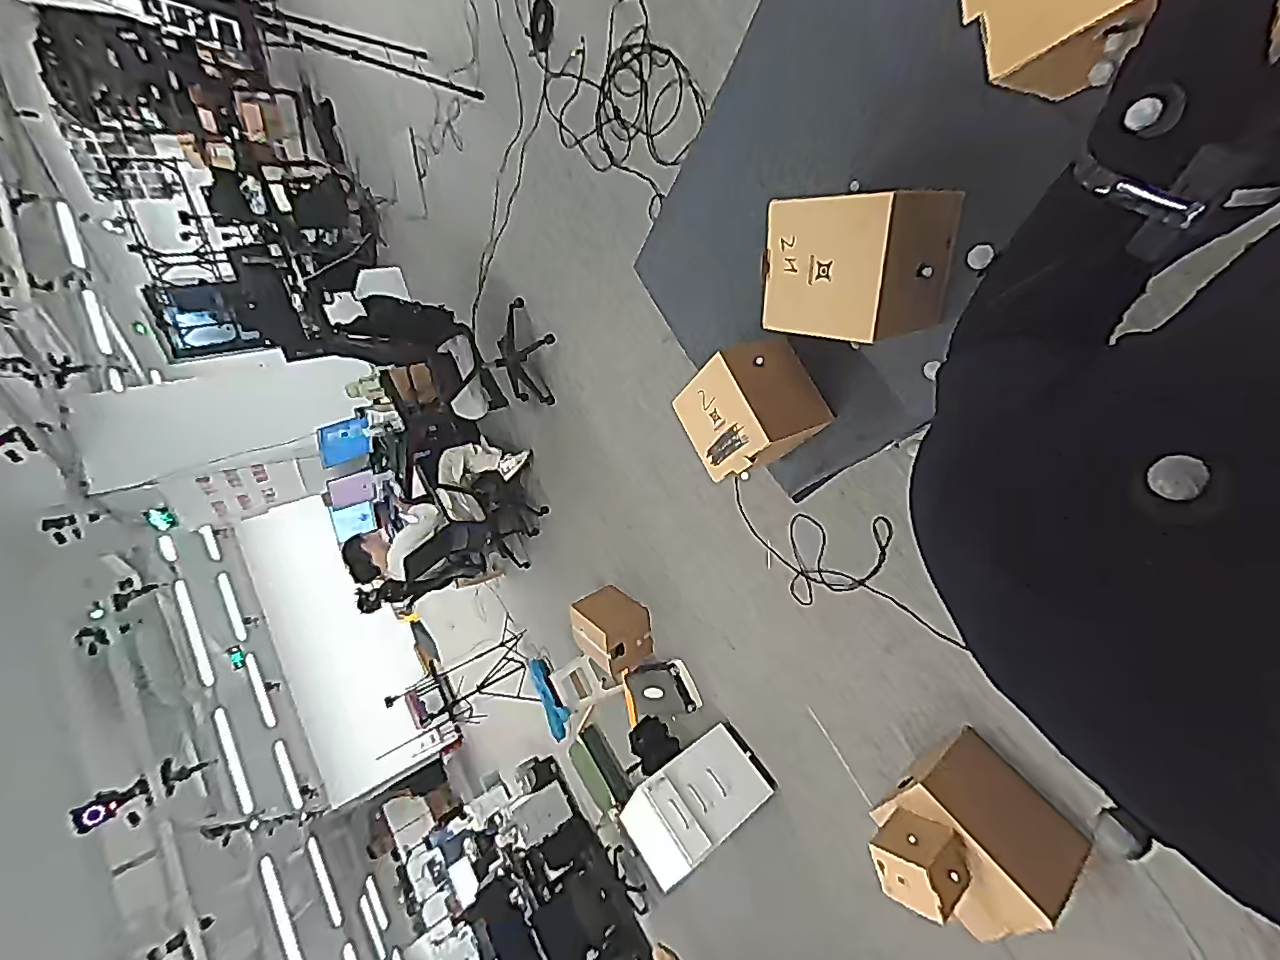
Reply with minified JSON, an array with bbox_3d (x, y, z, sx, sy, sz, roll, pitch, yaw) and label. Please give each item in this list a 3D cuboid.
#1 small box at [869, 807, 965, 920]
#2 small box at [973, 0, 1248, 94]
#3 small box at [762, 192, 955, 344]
[{"bbox_3d":[0.796,1.078,1.540,0.179,0.176,0.168,-15,95,55],"label":"small box"},{"bbox_3d":[0.409,-0.464,0.455,0.179,0.176,0.168,-1,106,57],"label":"small box"},{"bbox_3d":[0.288,-0.289,0.726,0.179,0.176,0.168,27,128,46],"label":"small box"}]
